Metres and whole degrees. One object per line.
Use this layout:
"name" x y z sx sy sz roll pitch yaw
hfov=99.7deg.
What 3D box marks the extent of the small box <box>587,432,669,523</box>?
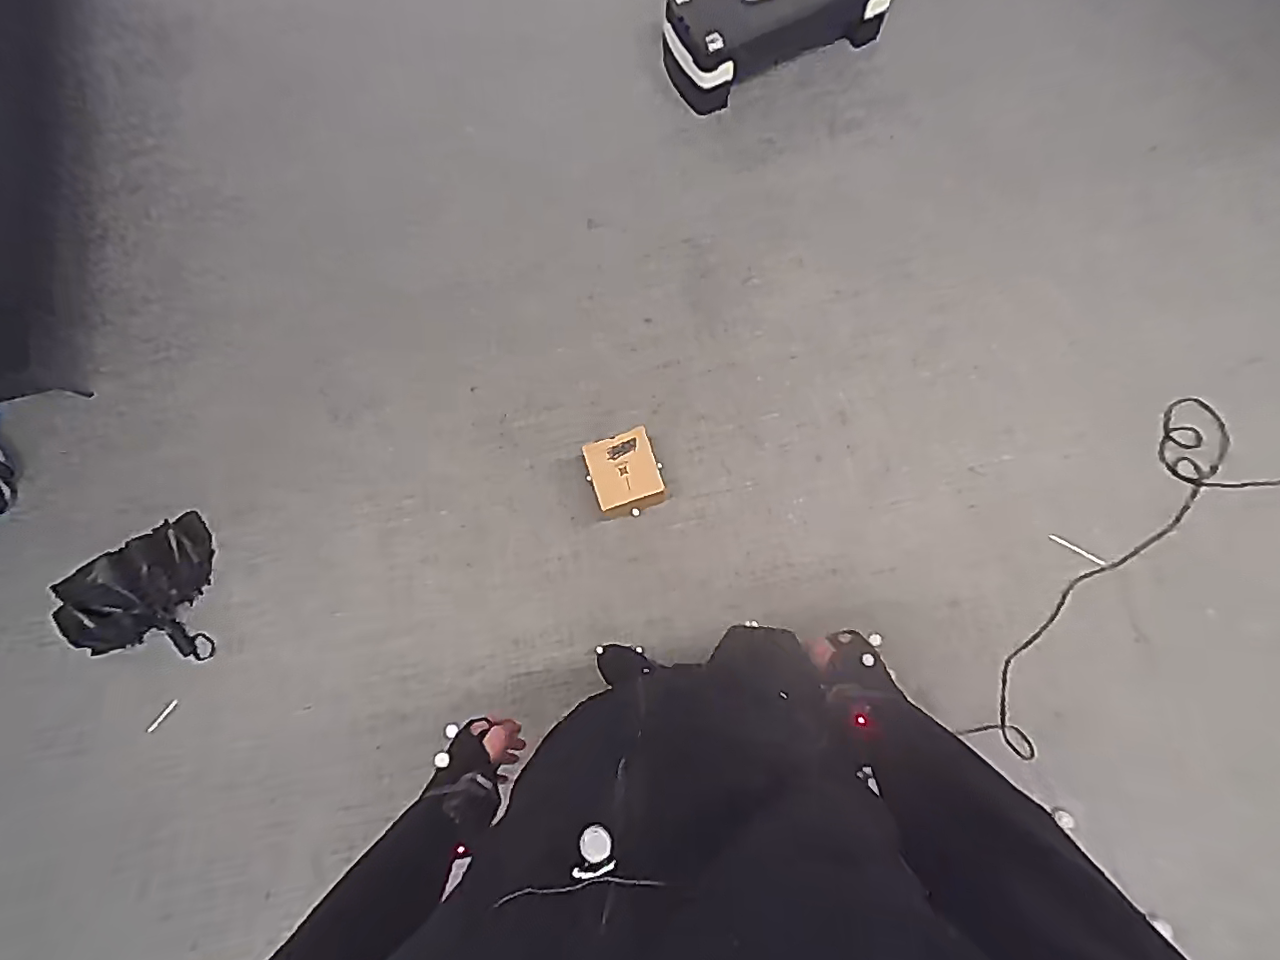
"small box" -0.029 -0.001 1.413 0.168 0.176 0.179 -19 77 0
